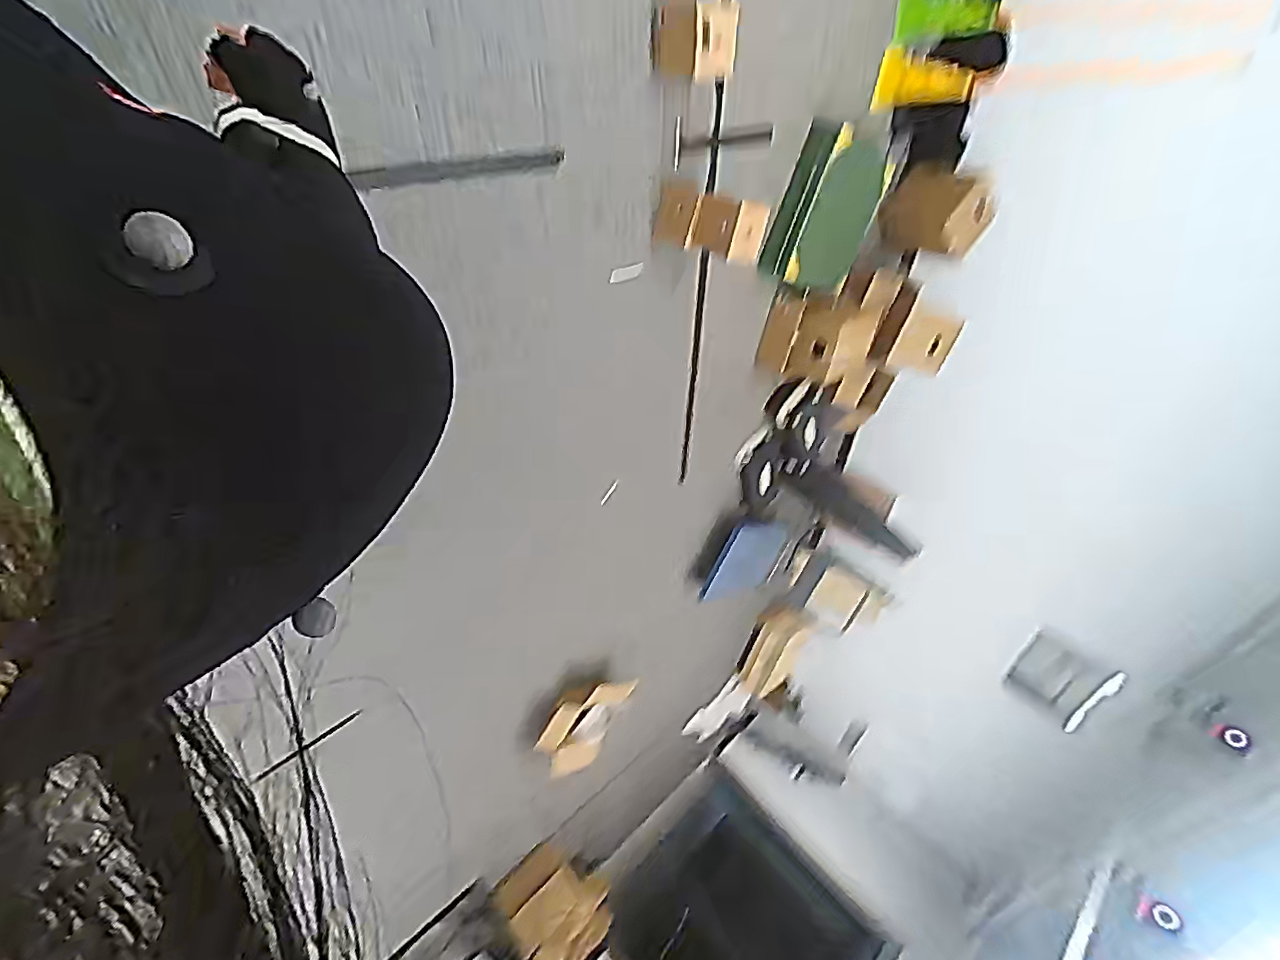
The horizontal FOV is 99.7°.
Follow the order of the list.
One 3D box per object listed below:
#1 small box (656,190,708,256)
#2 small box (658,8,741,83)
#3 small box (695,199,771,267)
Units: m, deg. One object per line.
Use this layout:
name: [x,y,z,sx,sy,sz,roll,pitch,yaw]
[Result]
small box: [0.180,-0.911,1.919,0.168,0.176,0.179,-15,132,-44]
small box: [0.169,-1.271,1.582,0.179,0.176,0.168,-31,140,-31]
small box: [0.311,-0.842,1.841,0.168,0.176,0.179,-16,133,-41]
